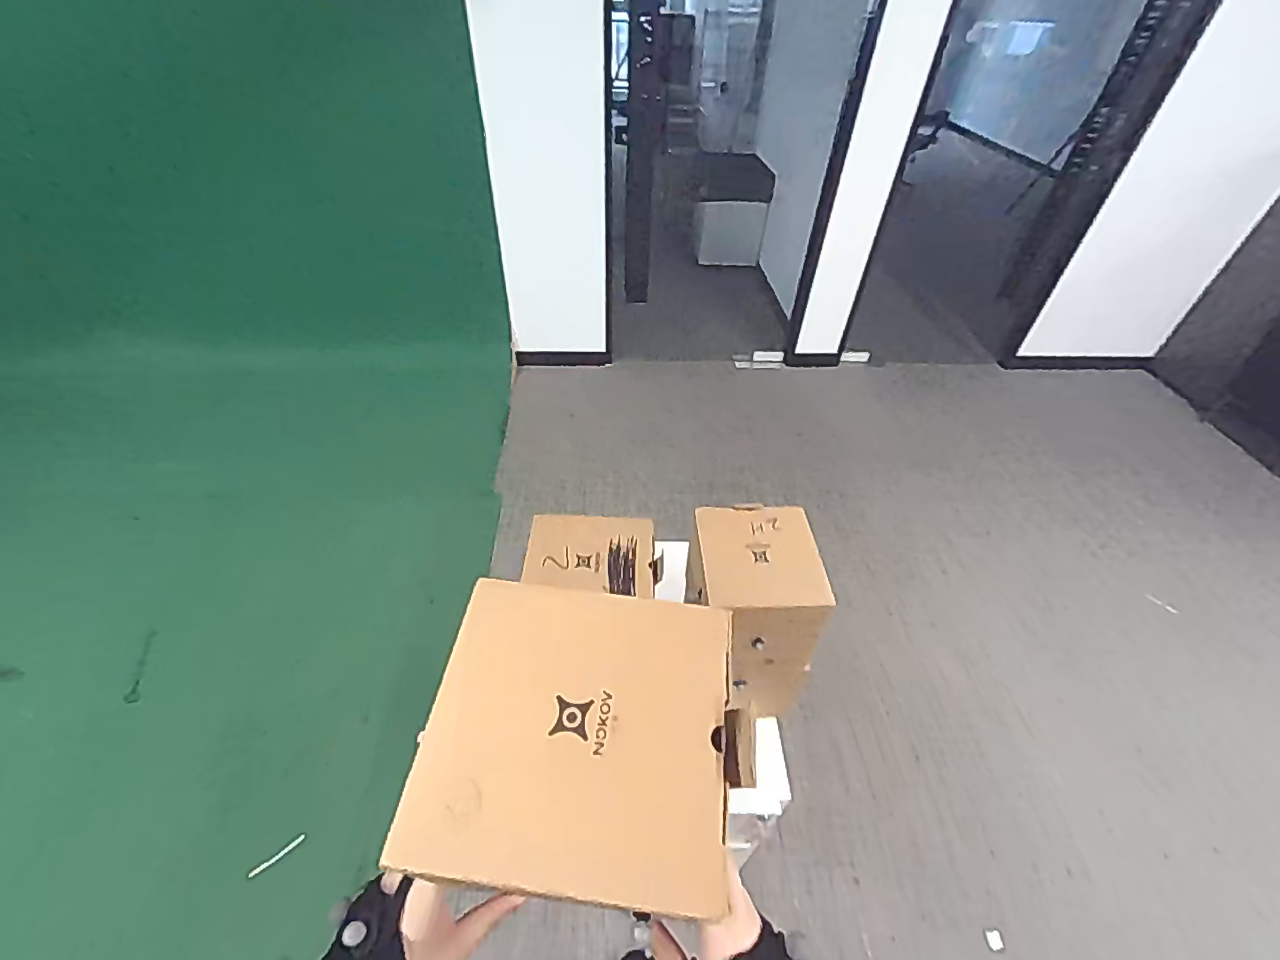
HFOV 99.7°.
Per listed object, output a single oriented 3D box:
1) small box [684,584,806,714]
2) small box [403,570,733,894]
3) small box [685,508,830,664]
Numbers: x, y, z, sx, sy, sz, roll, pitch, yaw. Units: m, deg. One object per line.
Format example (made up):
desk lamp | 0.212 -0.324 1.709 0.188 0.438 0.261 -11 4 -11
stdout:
small box | 0.161 0.282 0.918 0.179 0.176 0.168 2 44 -2
small box | -0.033 0.186 0.391 0.179 0.176 0.168 7 51 2
small box | 0.161 0.161 0.807 0.168 0.176 0.179 0 44 -3
